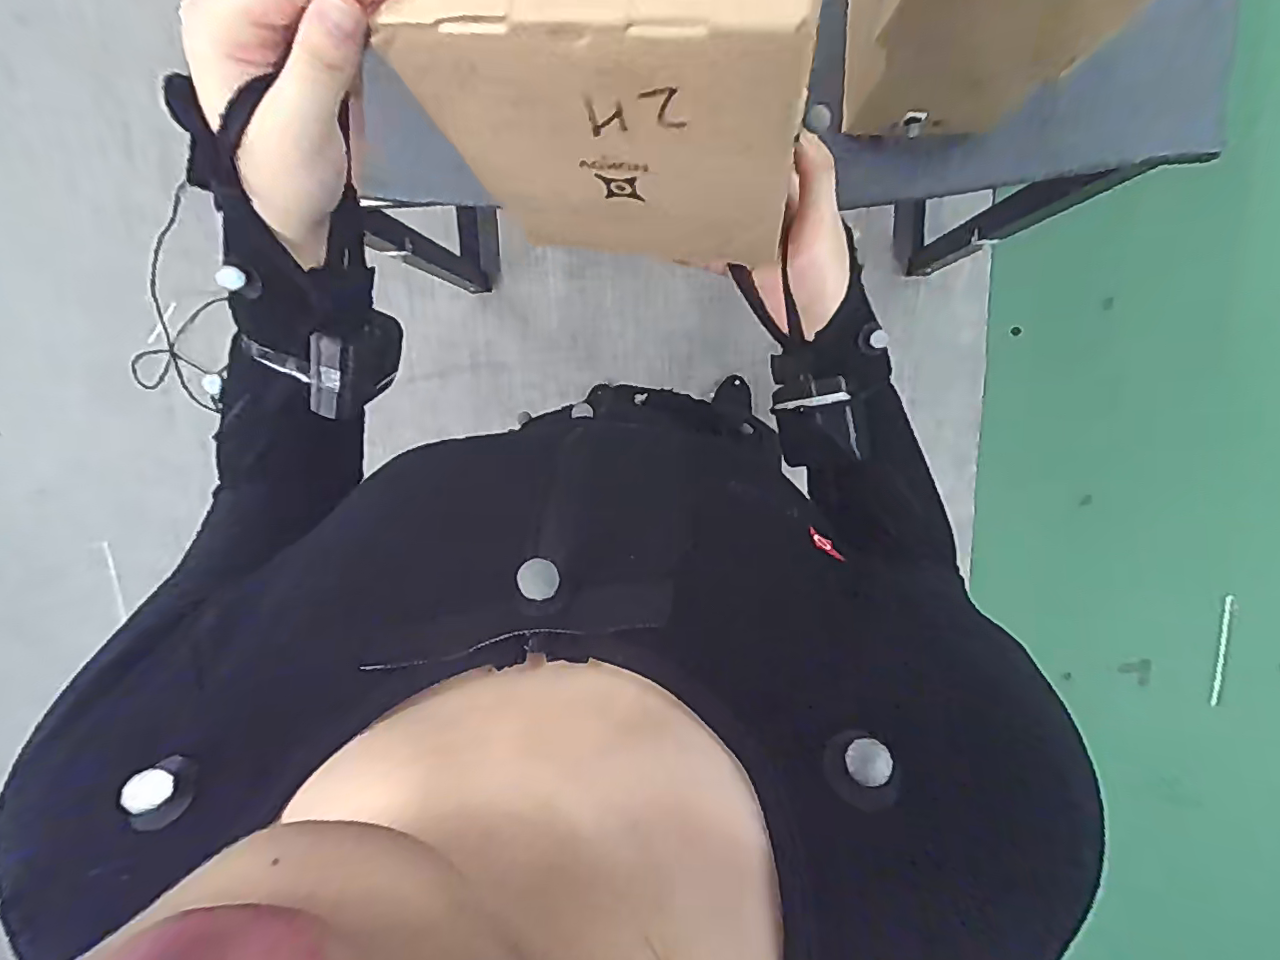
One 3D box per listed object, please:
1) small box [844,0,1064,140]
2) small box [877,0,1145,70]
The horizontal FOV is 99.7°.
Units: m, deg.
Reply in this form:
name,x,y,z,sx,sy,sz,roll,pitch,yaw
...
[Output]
name,x,y,z,sx,sy,sz,roll,pitch,yaw
small box,0.319,-0.486,0.558,0.168,0.176,0.179,1,99,5
small box,0.307,-0.446,0.400,0.179,0.176,0.168,11,99,4
